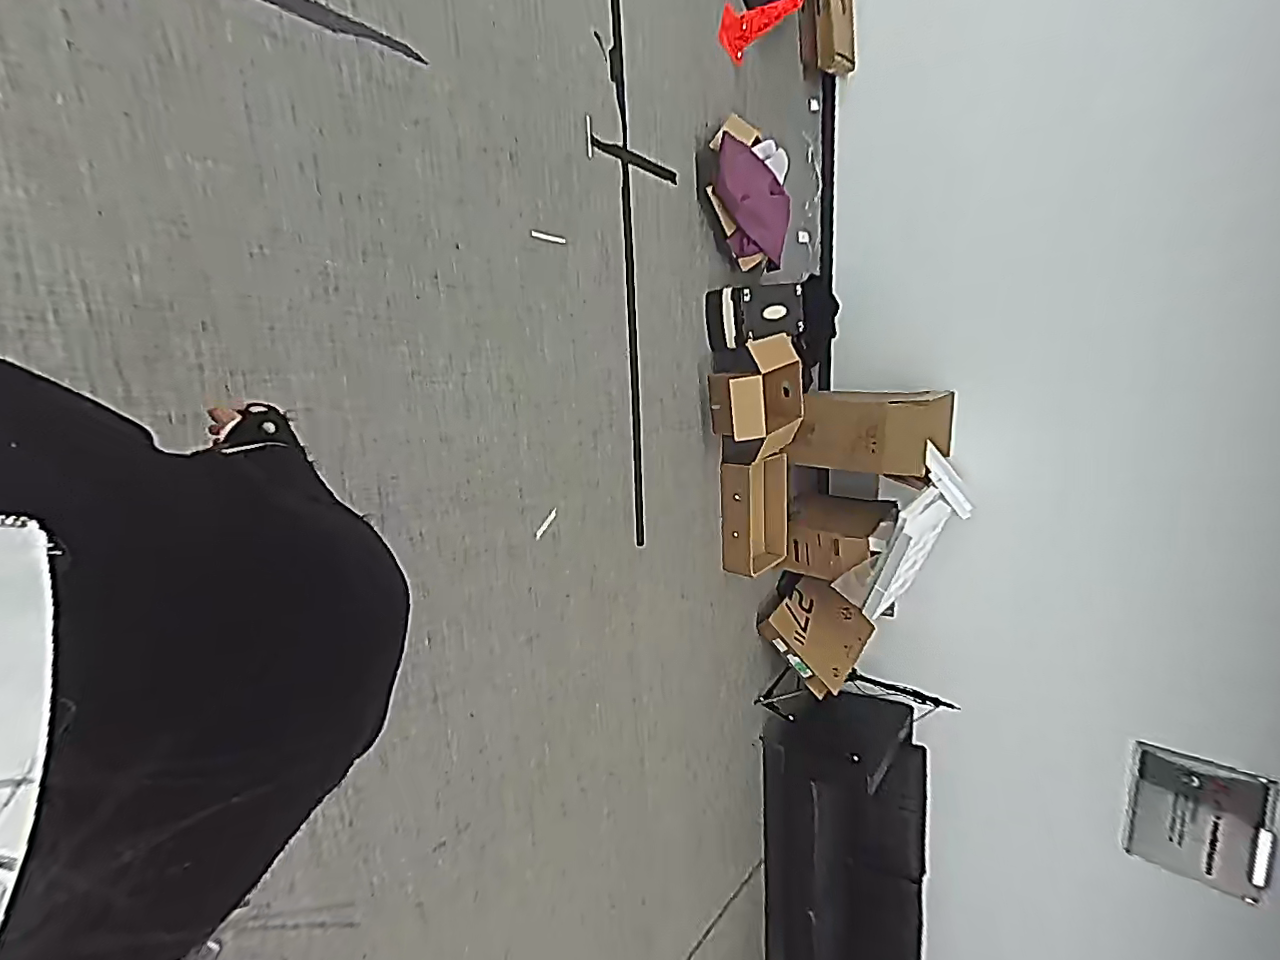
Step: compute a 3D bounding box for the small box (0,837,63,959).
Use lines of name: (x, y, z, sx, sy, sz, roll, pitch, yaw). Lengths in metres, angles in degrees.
small box: (-0.799, 0.568, 0.623, 0.168, 0.176, 0.179, -16, 104, -49)
